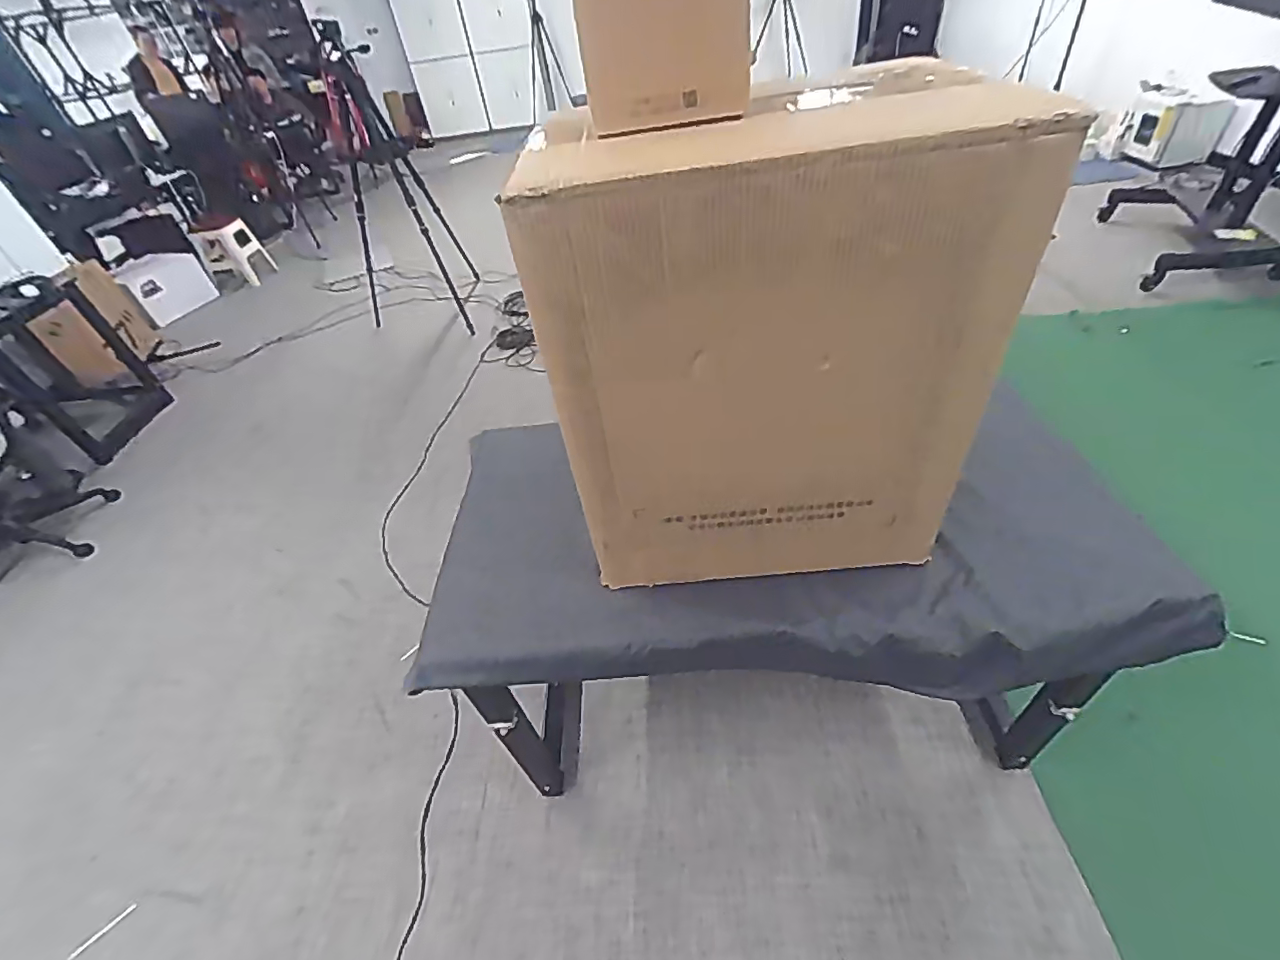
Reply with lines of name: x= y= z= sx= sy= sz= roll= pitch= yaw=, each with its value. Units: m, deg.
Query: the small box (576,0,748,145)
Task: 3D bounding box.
small box: x=0.026 y=-0.481 z=0.589 sx=0.168 sy=0.176 sz=0.179 roll=-5 pitch=41 yaw=7
